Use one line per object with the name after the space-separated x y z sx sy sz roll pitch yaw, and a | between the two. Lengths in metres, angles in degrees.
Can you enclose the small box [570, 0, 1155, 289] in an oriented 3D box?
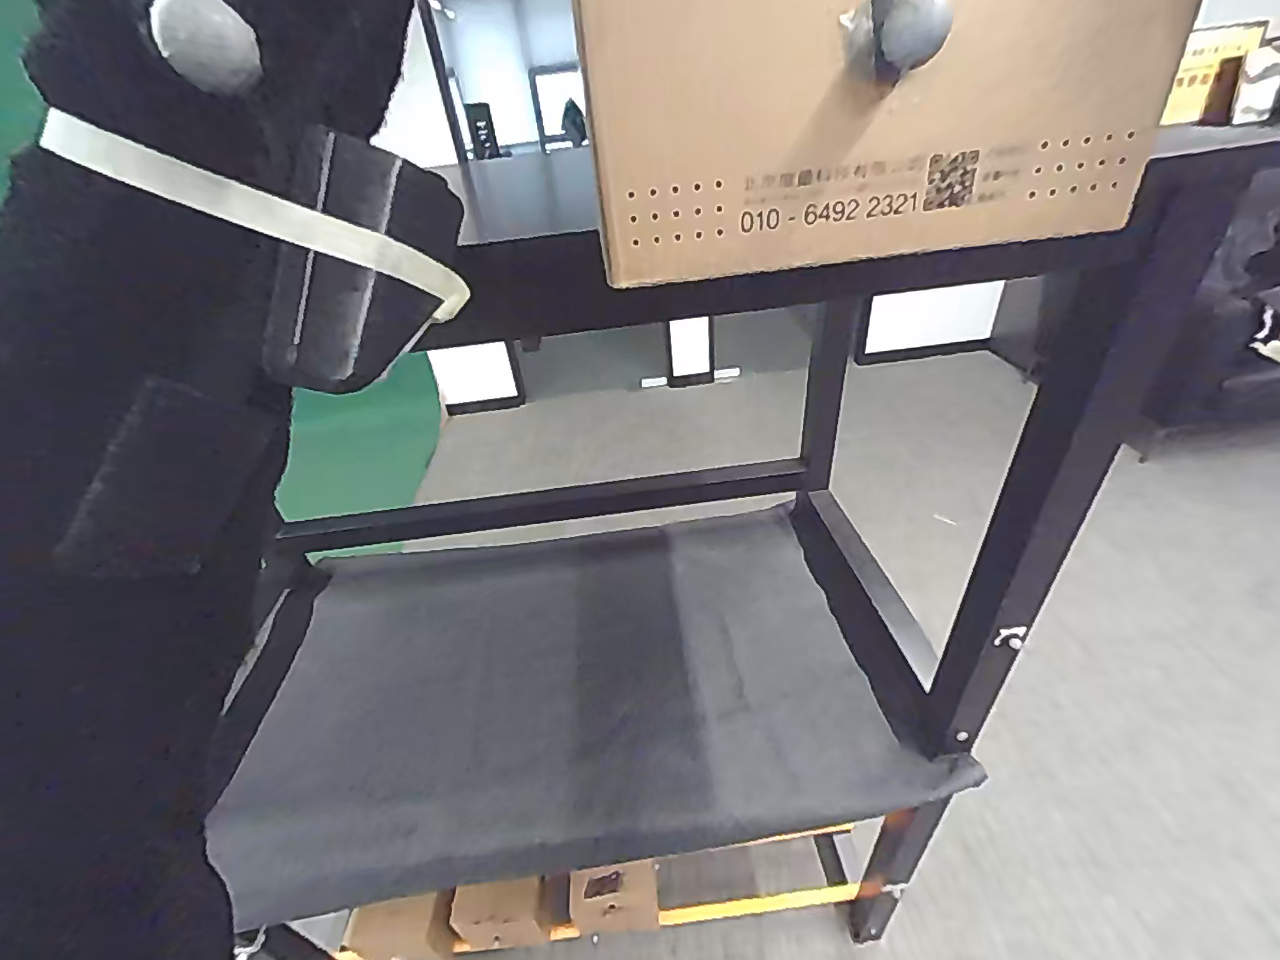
0.057 -0.181 0.213 0.168 0.176 0.179 -7 32 -1 | small box
